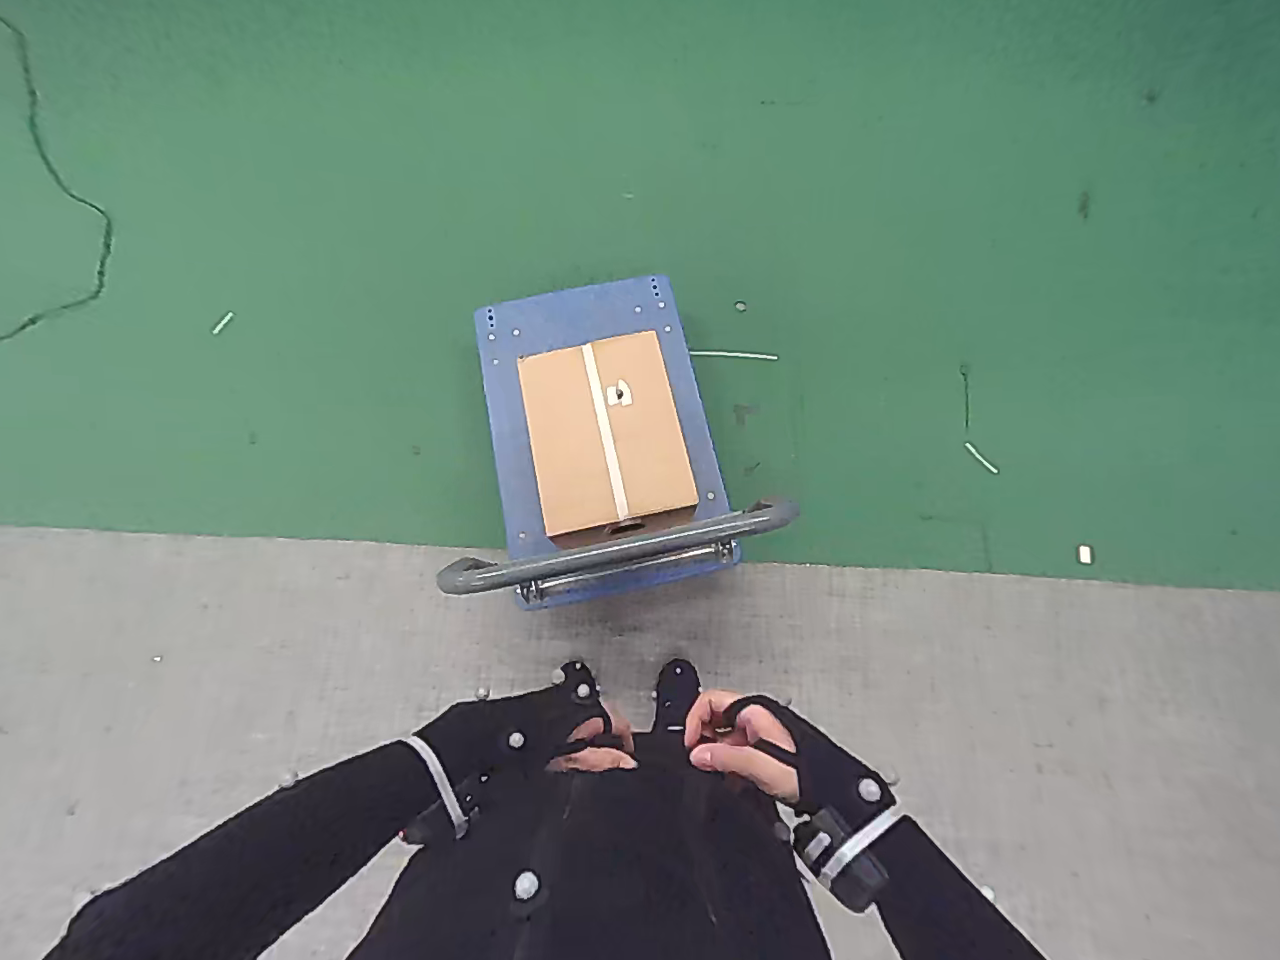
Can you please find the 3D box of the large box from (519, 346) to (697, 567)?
[{"bbox_3d":[-0.071,-0.039,1.283,0.320,0.320,0.408,-12,73,-3],"label":"large box"}]
